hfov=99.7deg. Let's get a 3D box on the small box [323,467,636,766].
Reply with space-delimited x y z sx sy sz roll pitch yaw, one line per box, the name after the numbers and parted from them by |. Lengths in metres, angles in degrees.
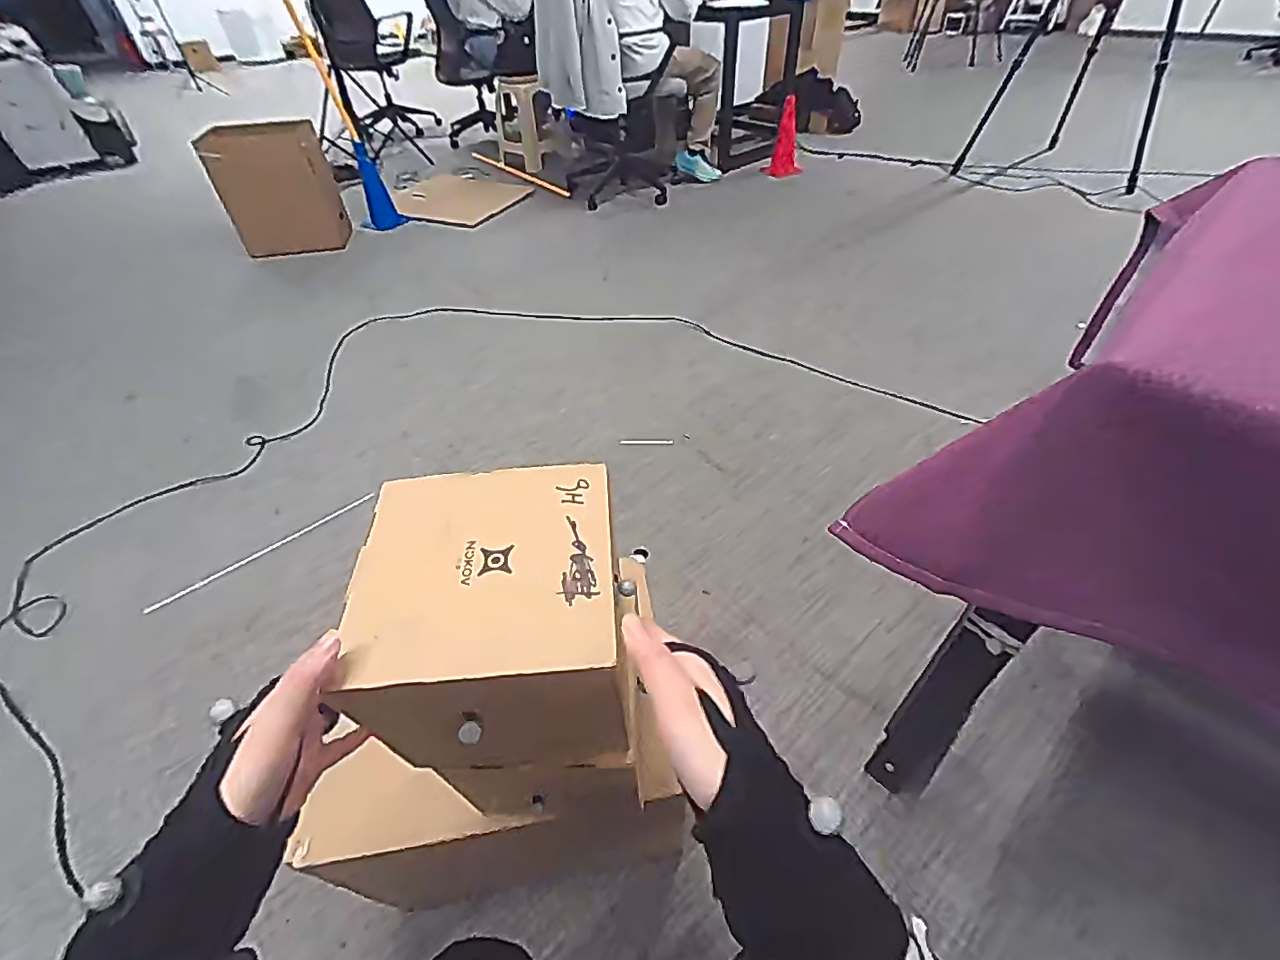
-0.100 0.112 0.426 0.179 0.176 0.168 -5 49 -1 | small box
